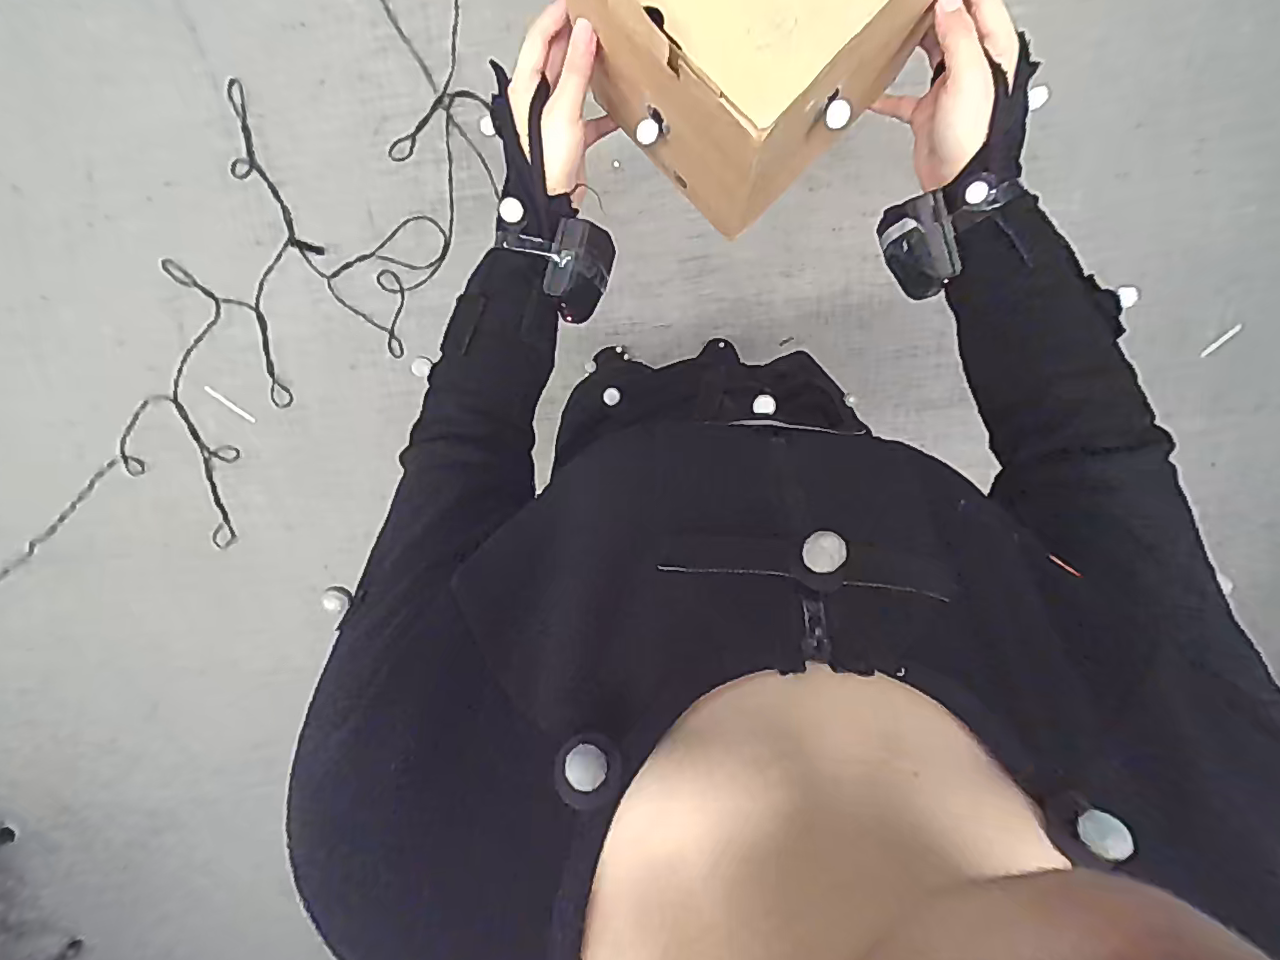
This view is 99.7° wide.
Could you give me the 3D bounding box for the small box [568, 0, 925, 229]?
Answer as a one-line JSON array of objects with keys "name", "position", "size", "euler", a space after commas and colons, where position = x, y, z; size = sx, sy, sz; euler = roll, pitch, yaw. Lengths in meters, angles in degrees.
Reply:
[{"name": "small box", "position": [0.071, -0.305, 0.354], "size": [0.168, 0.176, 0.179], "euler": [45, 99, -1]}]
